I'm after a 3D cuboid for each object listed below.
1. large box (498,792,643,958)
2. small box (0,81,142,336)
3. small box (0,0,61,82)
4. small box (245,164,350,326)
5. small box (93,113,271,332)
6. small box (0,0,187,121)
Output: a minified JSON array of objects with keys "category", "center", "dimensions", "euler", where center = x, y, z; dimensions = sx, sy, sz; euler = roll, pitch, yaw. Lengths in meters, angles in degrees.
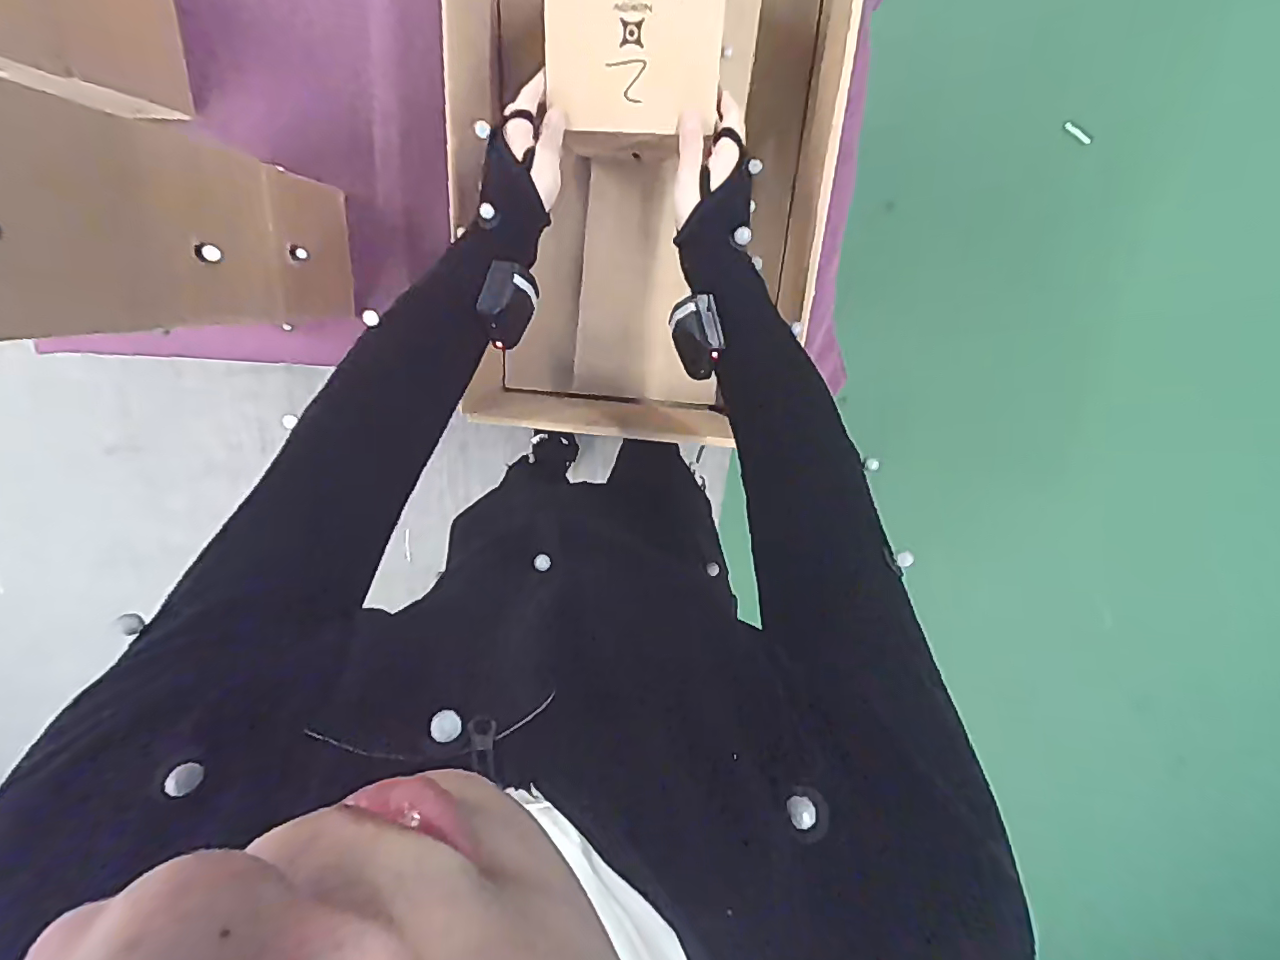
[{"category":"large box","center":[-0.237,1.434,1.981],"dimensions":[0.408,0.320,0.320],"euler":[-26,106,11]},{"category":"small box","center":[-0.518,-0.199,0.389],"dimensions":[0.168,0.176,0.179],"euler":[6,108,0]},{"category":"small box","center":[-0.688,-0.491,0.476],"dimensions":[0.168,0.176,0.179],"euler":[8,110,1]},{"category":"small box","center":[-0.503,-0.300,0.702],"dimensions":[0.168,0.176,0.179],"euler":[5,108,1]},{"category":"small box","center":[-0.512,-0.251,0.547],"dimensions":[0.168,0.176,0.179],"euler":[5,109,1]},{"category":"small box","center":[-0.685,-0.543,0.632],"dimensions":[0.168,0.176,0.179],"euler":[4,109,3]}]
